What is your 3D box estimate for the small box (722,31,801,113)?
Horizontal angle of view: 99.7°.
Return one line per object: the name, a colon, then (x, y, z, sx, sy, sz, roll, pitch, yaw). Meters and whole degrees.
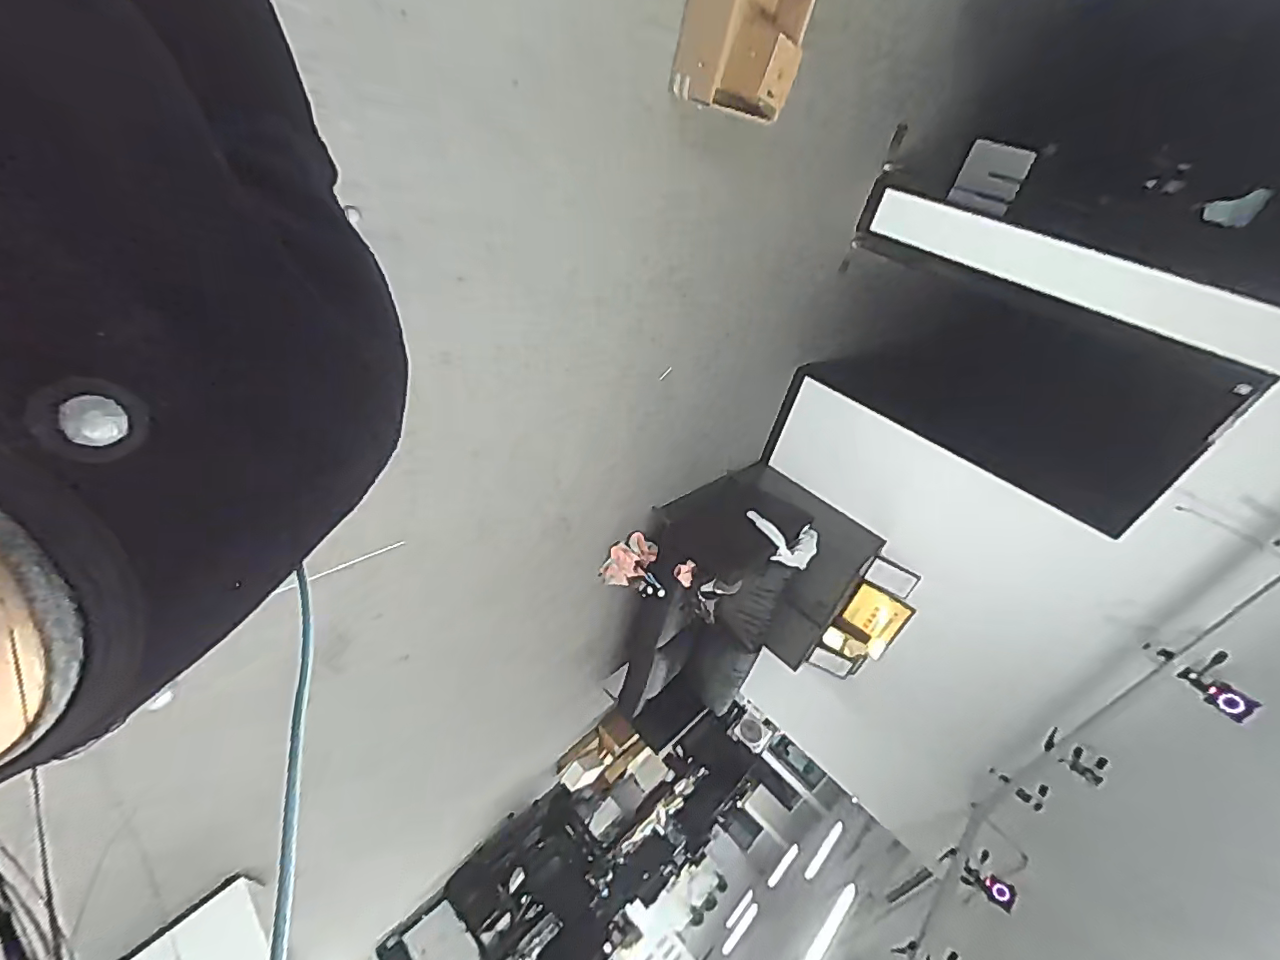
small box: (0.407, -1.386, 1.834, 0.168, 0.176, 0.179, -12, 131, -47)
